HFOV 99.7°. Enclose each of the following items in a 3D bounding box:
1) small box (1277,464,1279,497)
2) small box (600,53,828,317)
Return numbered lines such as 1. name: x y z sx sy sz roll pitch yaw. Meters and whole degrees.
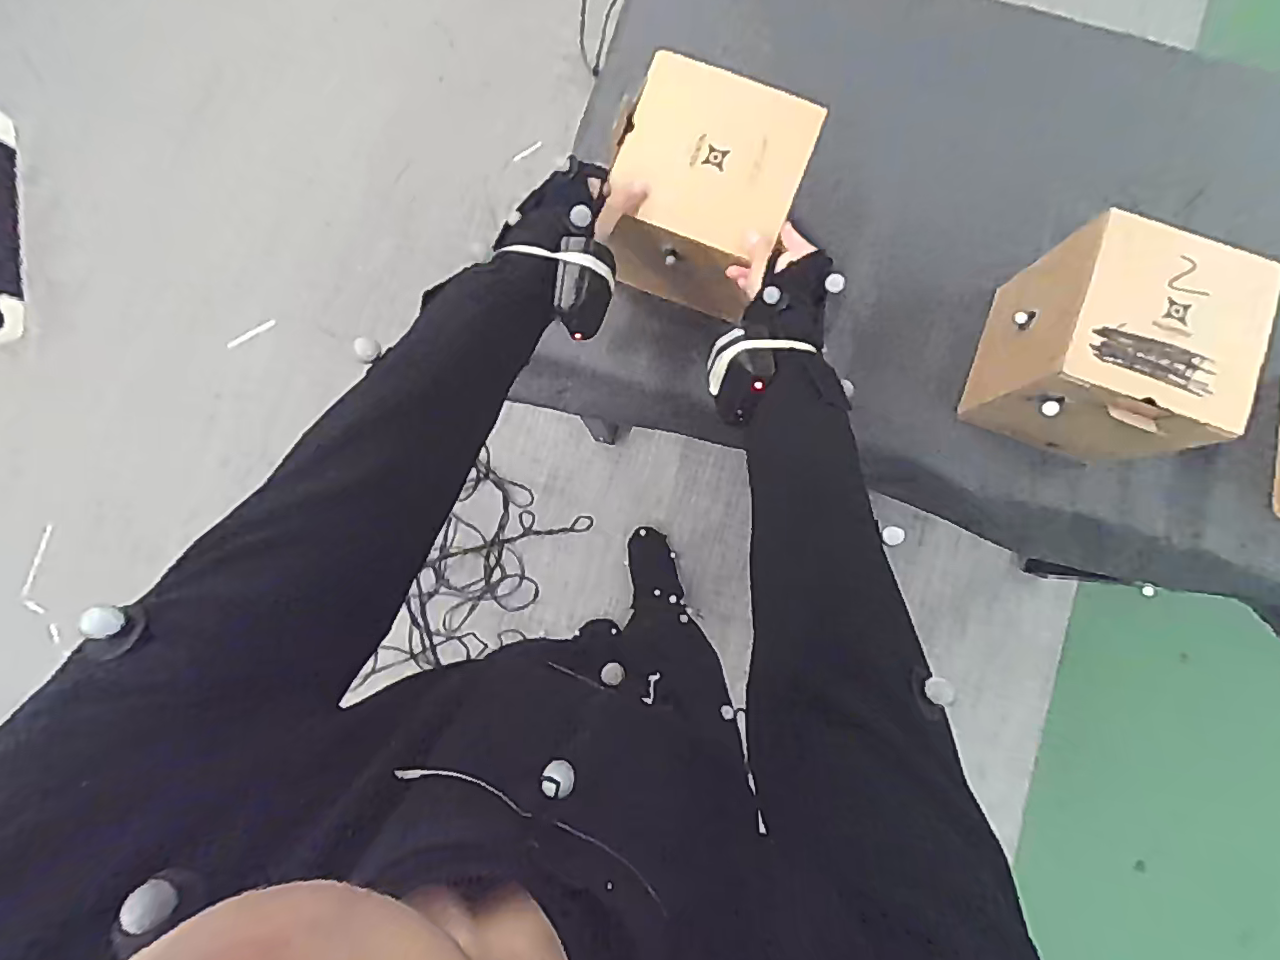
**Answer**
1. small box: 0.831 -0.036 0.554 0.168 0.176 0.179 12 85 2
2. small box: 0.071 -0.300 0.590 0.179 0.176 0.168 20 88 1
